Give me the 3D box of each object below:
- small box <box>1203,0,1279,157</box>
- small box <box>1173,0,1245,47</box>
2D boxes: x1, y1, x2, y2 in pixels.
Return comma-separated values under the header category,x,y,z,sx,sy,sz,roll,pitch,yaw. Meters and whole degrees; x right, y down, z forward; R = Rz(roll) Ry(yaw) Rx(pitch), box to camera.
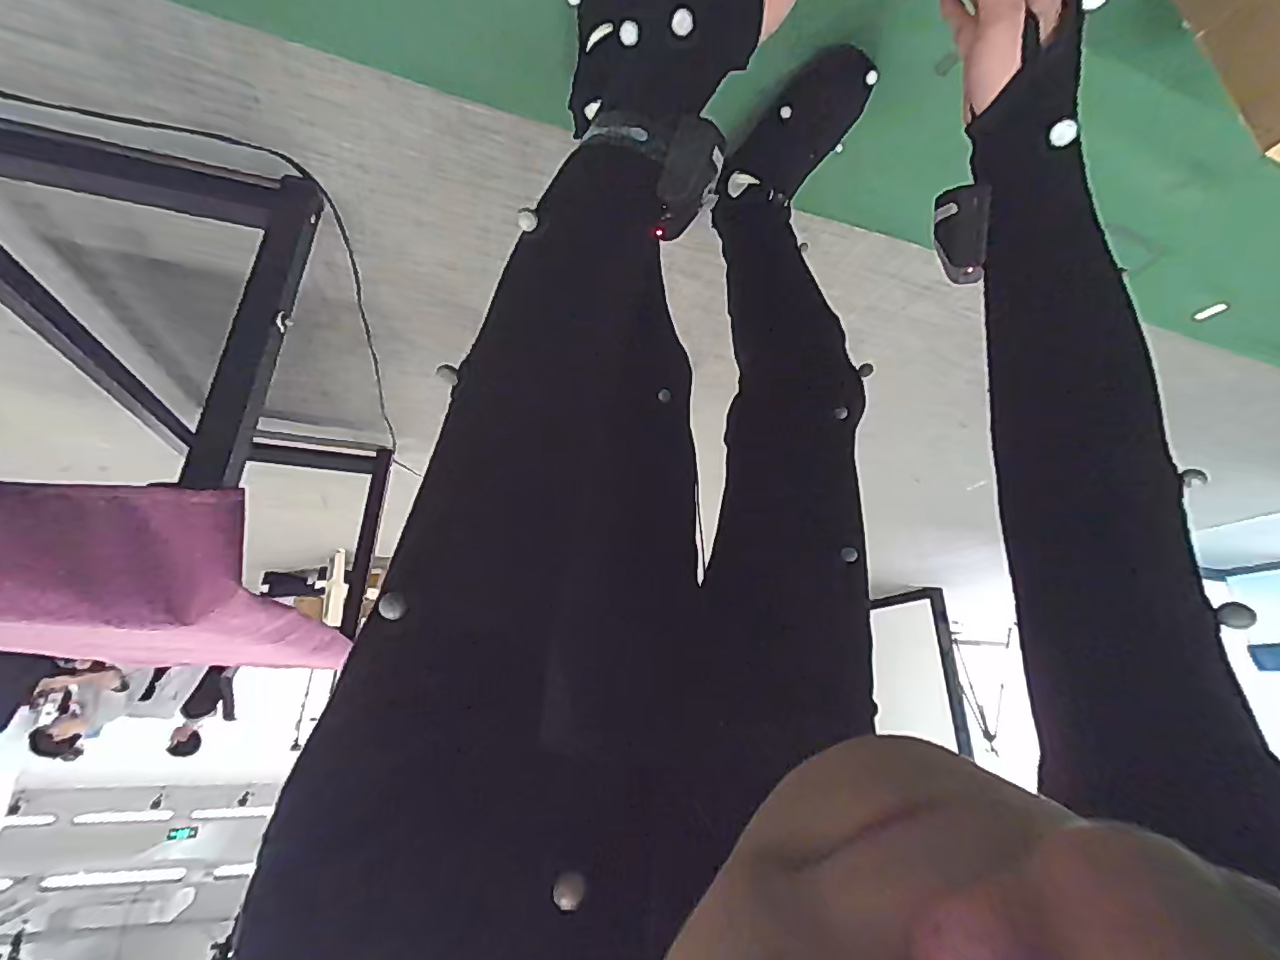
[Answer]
category,x,y,z,sx,sy,sz,roll,pitch,yaw
small box,0.682,-0.402,0.482,0.168,0.176,0.179,8,156,-19
small box,0.680,-0.554,0.545,0.168,0.176,0.179,8,156,-19
